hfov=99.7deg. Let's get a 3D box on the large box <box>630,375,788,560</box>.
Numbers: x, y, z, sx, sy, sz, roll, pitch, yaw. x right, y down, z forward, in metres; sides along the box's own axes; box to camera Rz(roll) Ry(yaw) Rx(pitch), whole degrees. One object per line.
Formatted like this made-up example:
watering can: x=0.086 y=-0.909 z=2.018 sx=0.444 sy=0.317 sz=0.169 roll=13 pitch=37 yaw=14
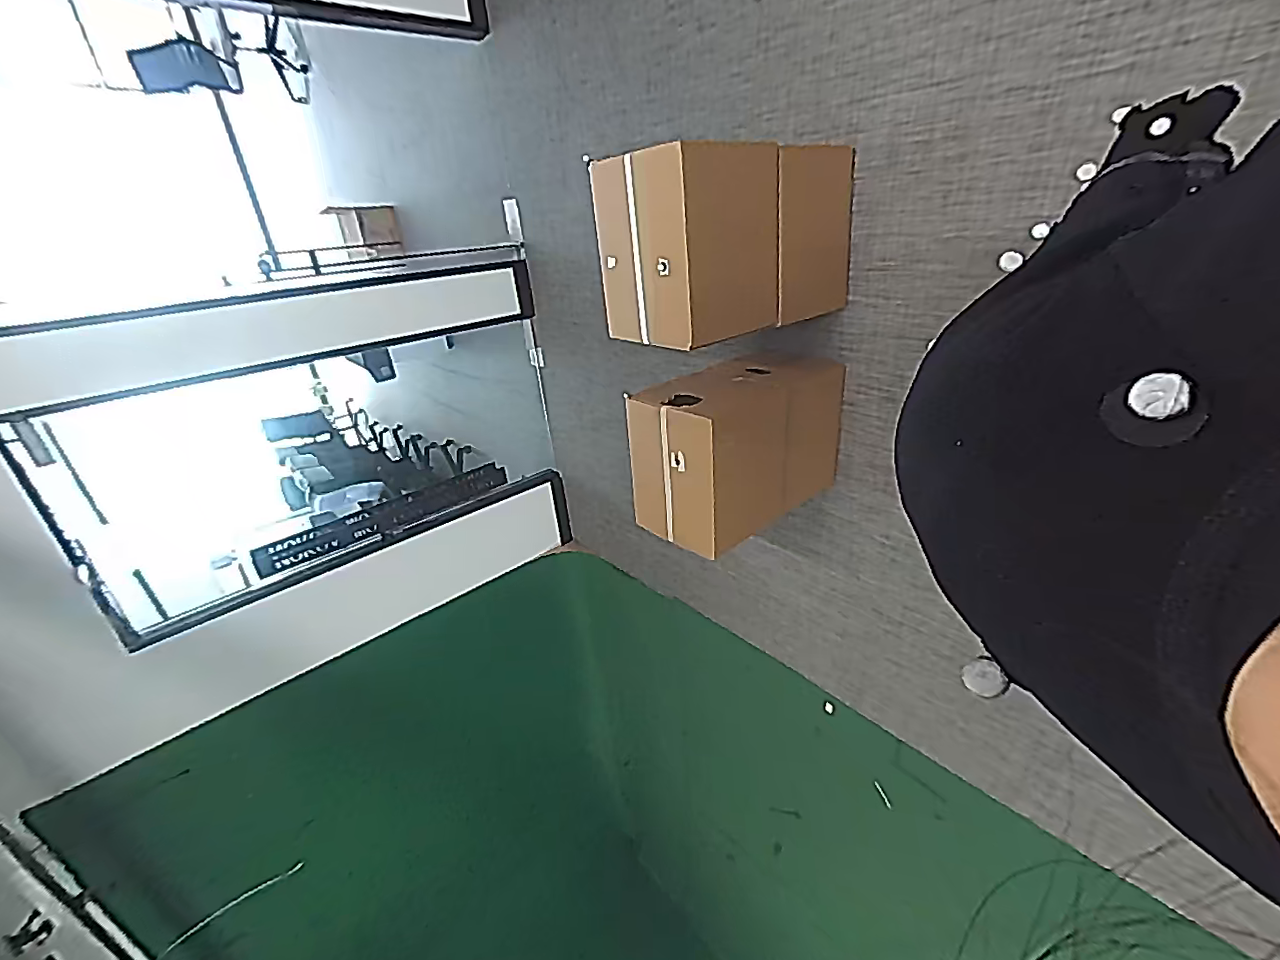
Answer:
large box: x=0.198 y=-0.052 z=1.529 sx=0.320 sy=0.320 sz=0.408 roll=22 pitch=125 yaw=43
